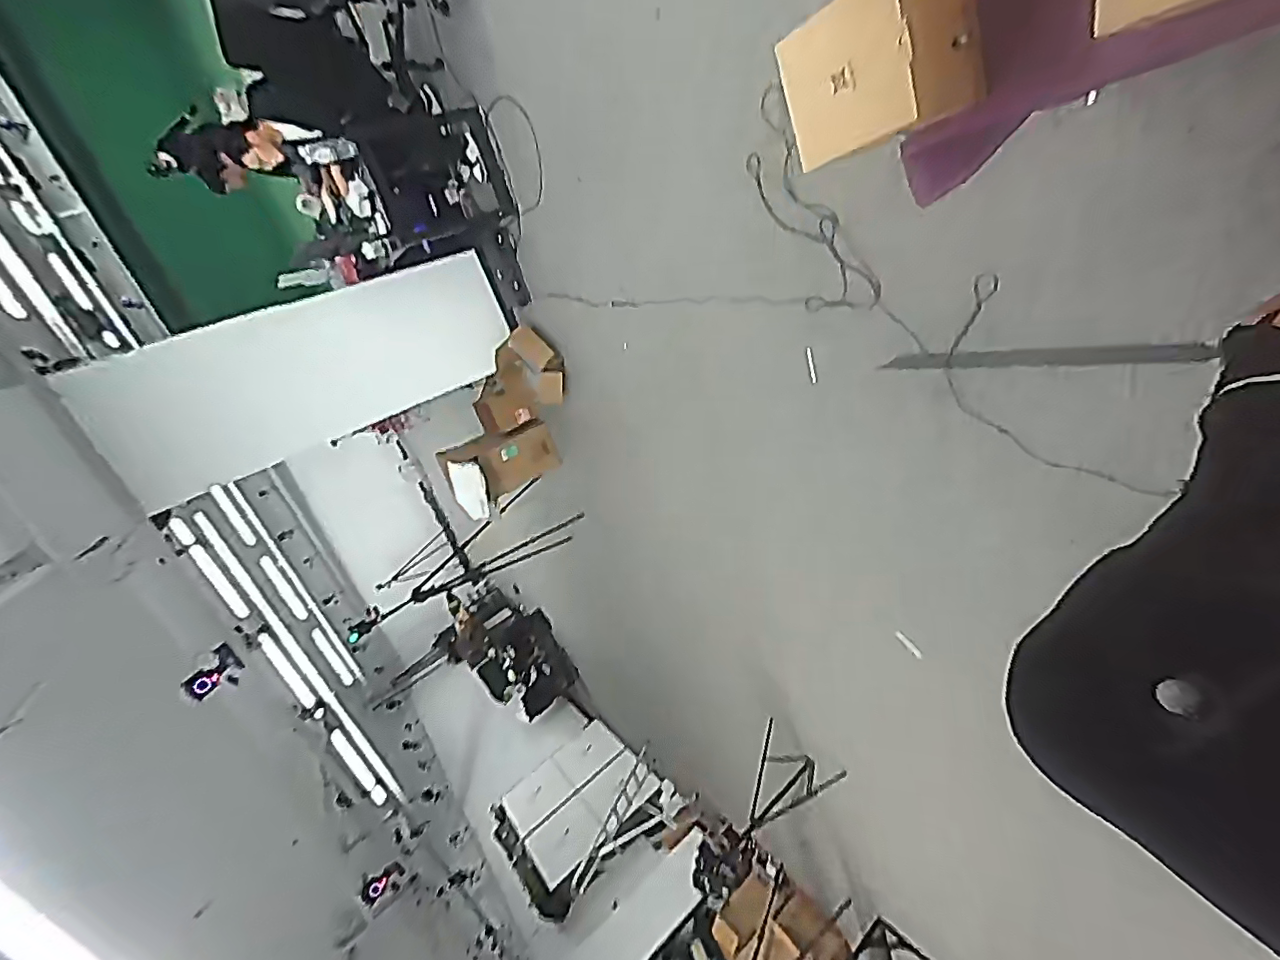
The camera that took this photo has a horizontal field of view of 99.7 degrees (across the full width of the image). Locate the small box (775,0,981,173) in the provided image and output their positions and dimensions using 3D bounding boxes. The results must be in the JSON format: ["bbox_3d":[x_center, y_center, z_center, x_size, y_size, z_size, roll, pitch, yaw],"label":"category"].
[{"bbox_3d":[0.318,-0.543,0.726,0.179,0.176,0.168,7,123,56],"label":"small box"}]
